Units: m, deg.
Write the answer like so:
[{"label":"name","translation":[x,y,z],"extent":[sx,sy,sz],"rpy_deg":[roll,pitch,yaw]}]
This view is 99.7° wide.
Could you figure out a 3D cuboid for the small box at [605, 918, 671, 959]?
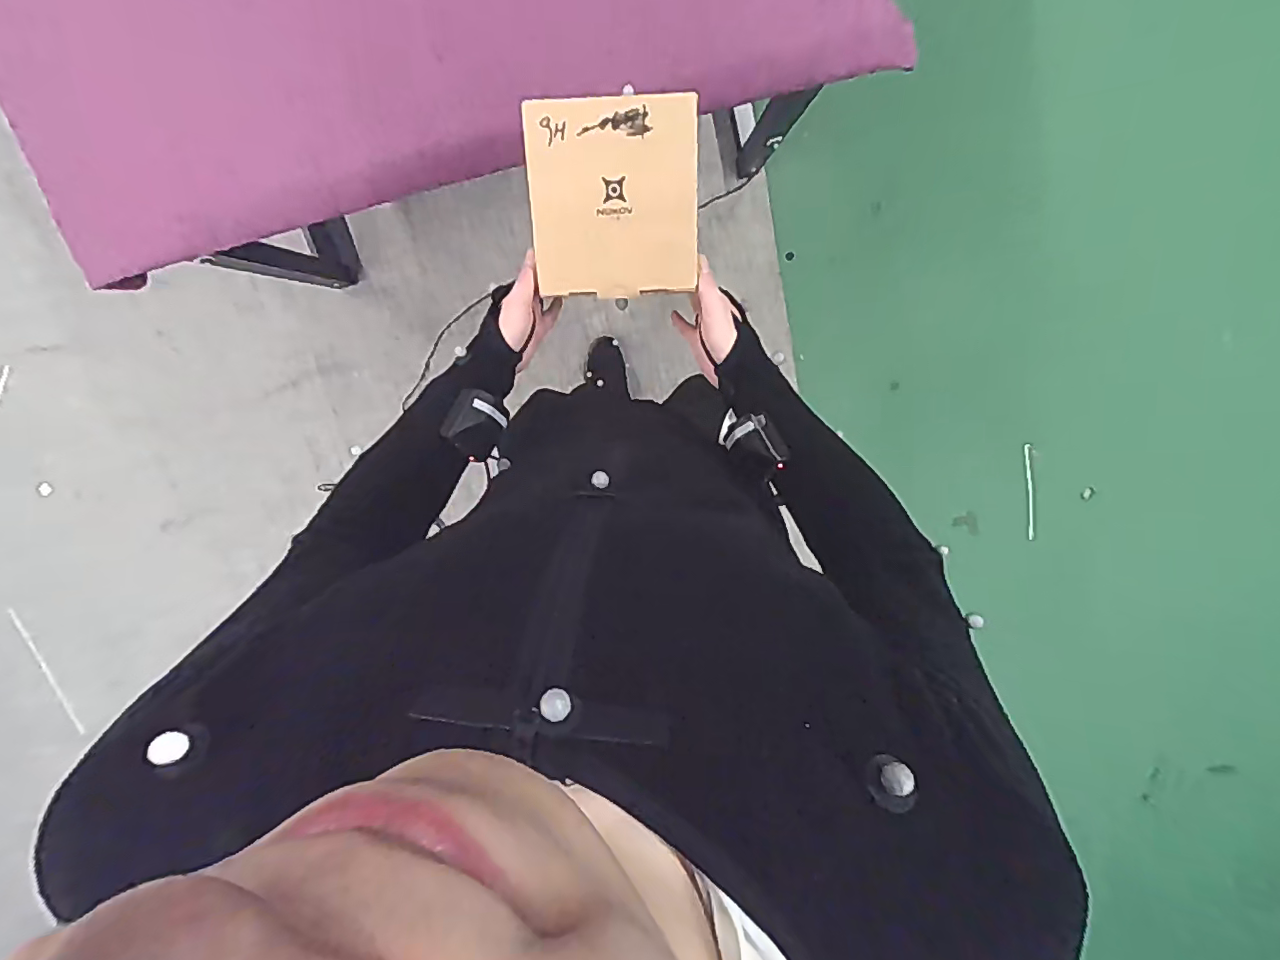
[{"label":"small box","translation":[-0.002,1.317,1.449],"extent":[0.168,0.176,0.179],"rpy_deg":[-9,105,1]}]

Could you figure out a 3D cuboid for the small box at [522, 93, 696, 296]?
[{"label":"small box","translation":[-0.026,-0.303,0.605],"extent":[0.168,0.176,0.179],"rpy_deg":[-2,110,1]}]
